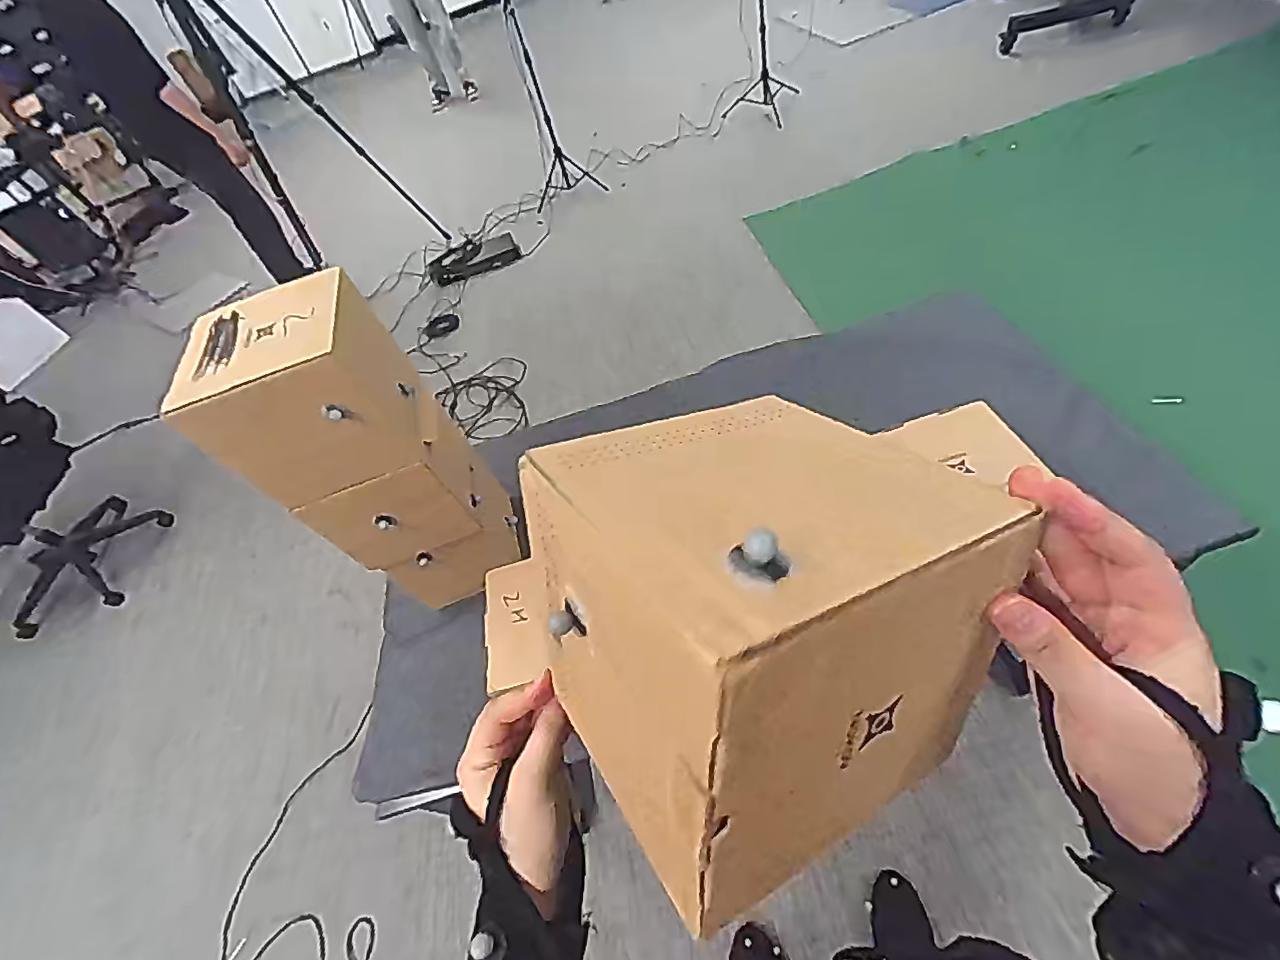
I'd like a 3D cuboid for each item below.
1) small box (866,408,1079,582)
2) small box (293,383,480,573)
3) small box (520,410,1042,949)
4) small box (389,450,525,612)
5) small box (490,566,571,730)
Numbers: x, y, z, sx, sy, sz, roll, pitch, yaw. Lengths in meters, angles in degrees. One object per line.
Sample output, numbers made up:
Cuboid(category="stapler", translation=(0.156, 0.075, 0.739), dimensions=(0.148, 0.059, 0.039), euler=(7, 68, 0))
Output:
Cuboid(category="small box", translation=(0.406, 0.042, 0.710), dimensions=(0.168, 0.176, 0.179), euler=(-19, 50, 3))
Cuboid(category="small box", translation=(-0.337, 0.002, 0.754), dimensions=(0.179, 0.176, 0.168), euler=(-21, 52, 1))
Cuboid(category="small box", translation=(0.054, 0.075, 0.288), dimensions=(0.179, 0.168, 0.176), euler=(-16, 33, -24))
Cuboid(category="small box", translation=(-0.304, 0.087, 0.893), dimensions=(0.168, 0.176, 0.179), euler=(-21, 52, -1))
Cuboid(category="small box", translation=(-0.085, 0.216, 0.726), dimensions=(0.179, 0.176, 0.168), euler=(-17, 51, 4))
